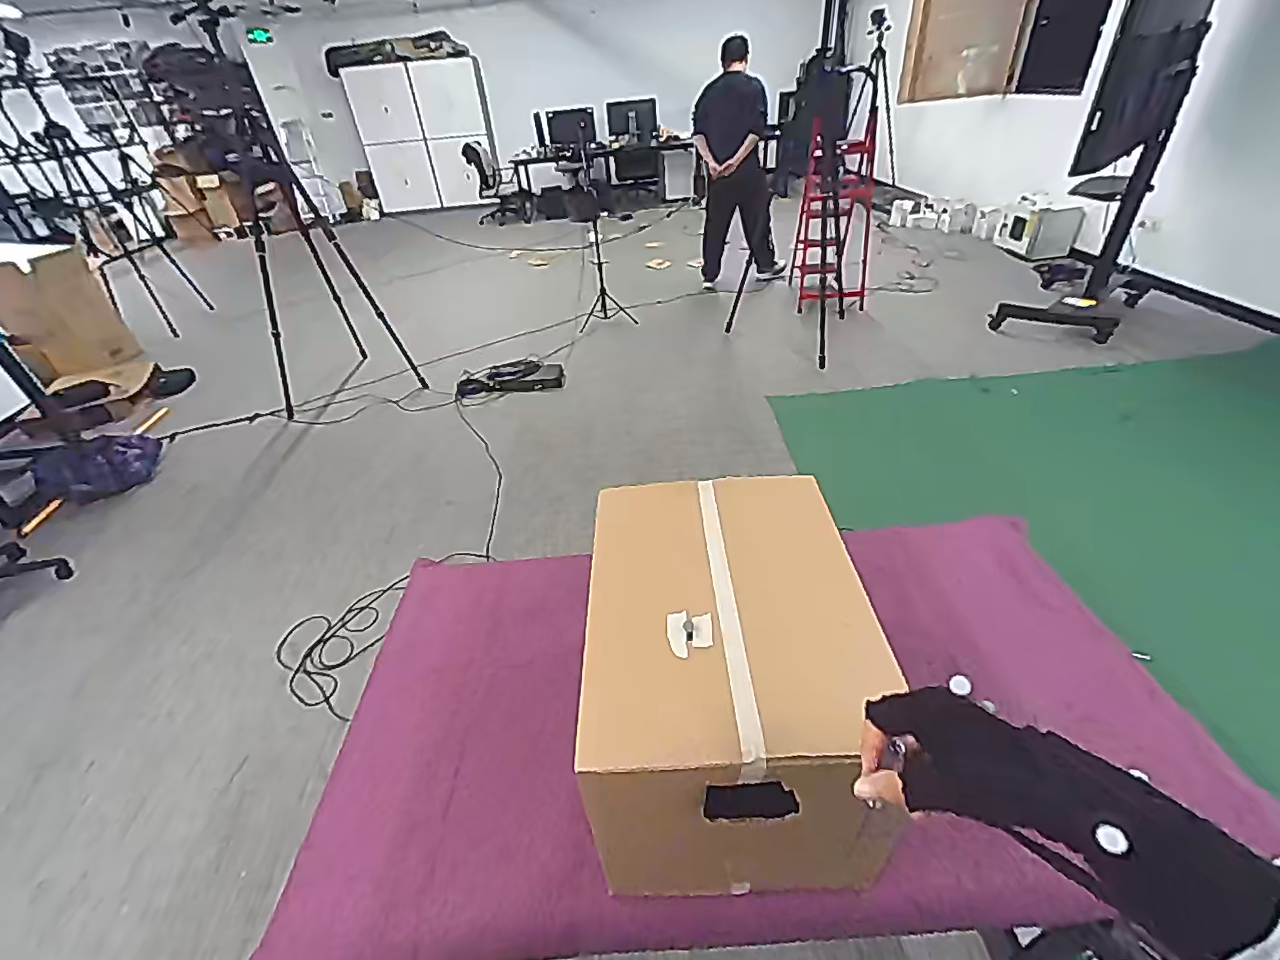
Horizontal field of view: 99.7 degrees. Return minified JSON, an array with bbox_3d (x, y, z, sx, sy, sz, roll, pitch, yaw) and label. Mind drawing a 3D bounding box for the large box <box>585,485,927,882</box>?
[{"bbox_3d":[0.107,0.250,0.726,0.320,0.320,0.408,-3,37,2],"label":"large box"}]
